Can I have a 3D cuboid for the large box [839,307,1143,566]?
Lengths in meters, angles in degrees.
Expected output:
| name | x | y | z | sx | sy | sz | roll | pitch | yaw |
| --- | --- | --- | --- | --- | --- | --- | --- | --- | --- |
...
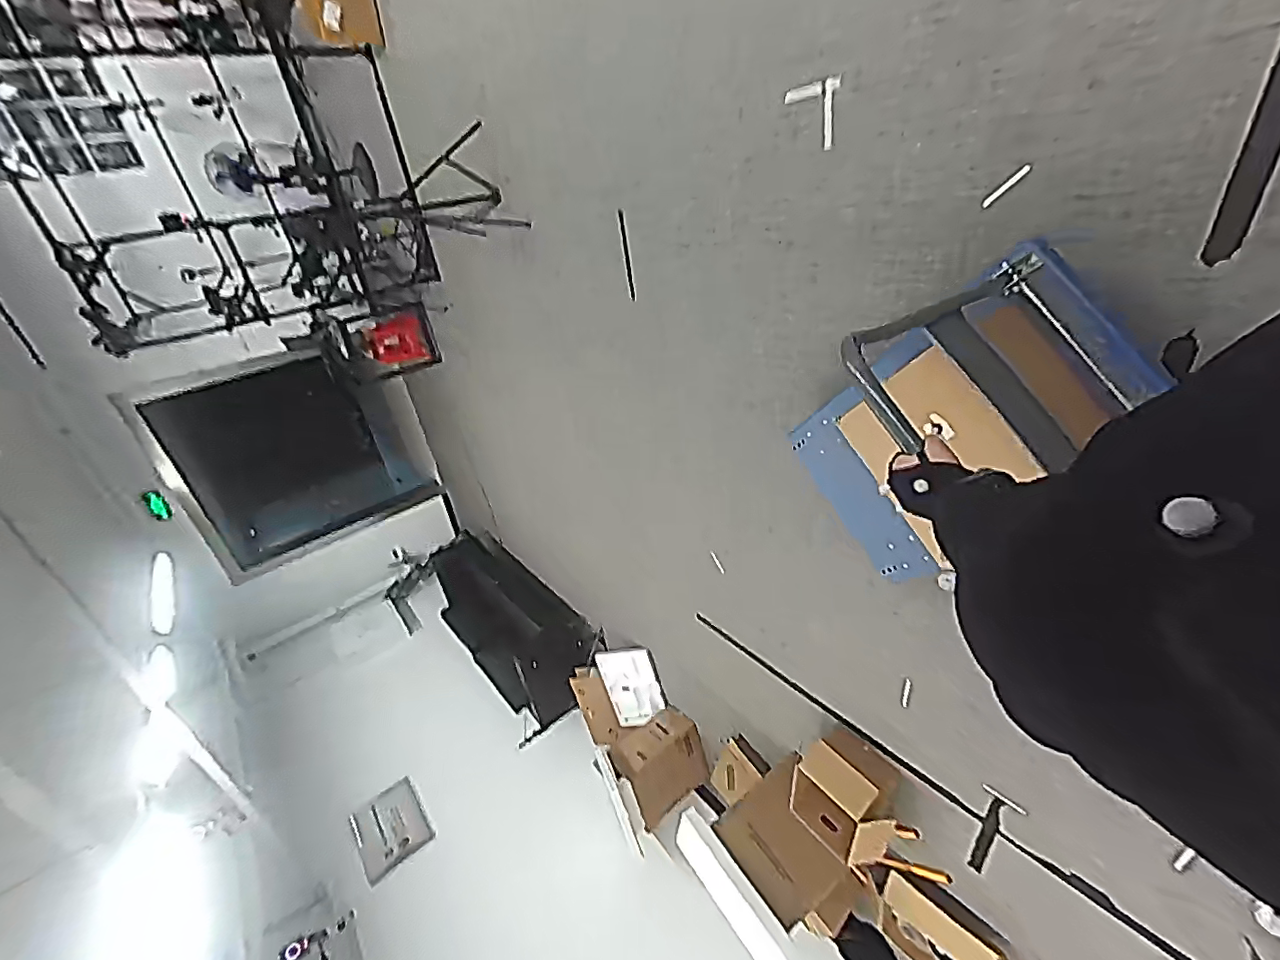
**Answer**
| name | x | y | z | sx | sy | sz | roll | pitch | yaw |
| --- | --- | --- | --- | --- | --- | --- | --- | --- | --- |
| large box | 0.732 | -0.091 | 1.162 | 0.408 | 0.320 | 0.320 | 58 | 150 | 11 |
